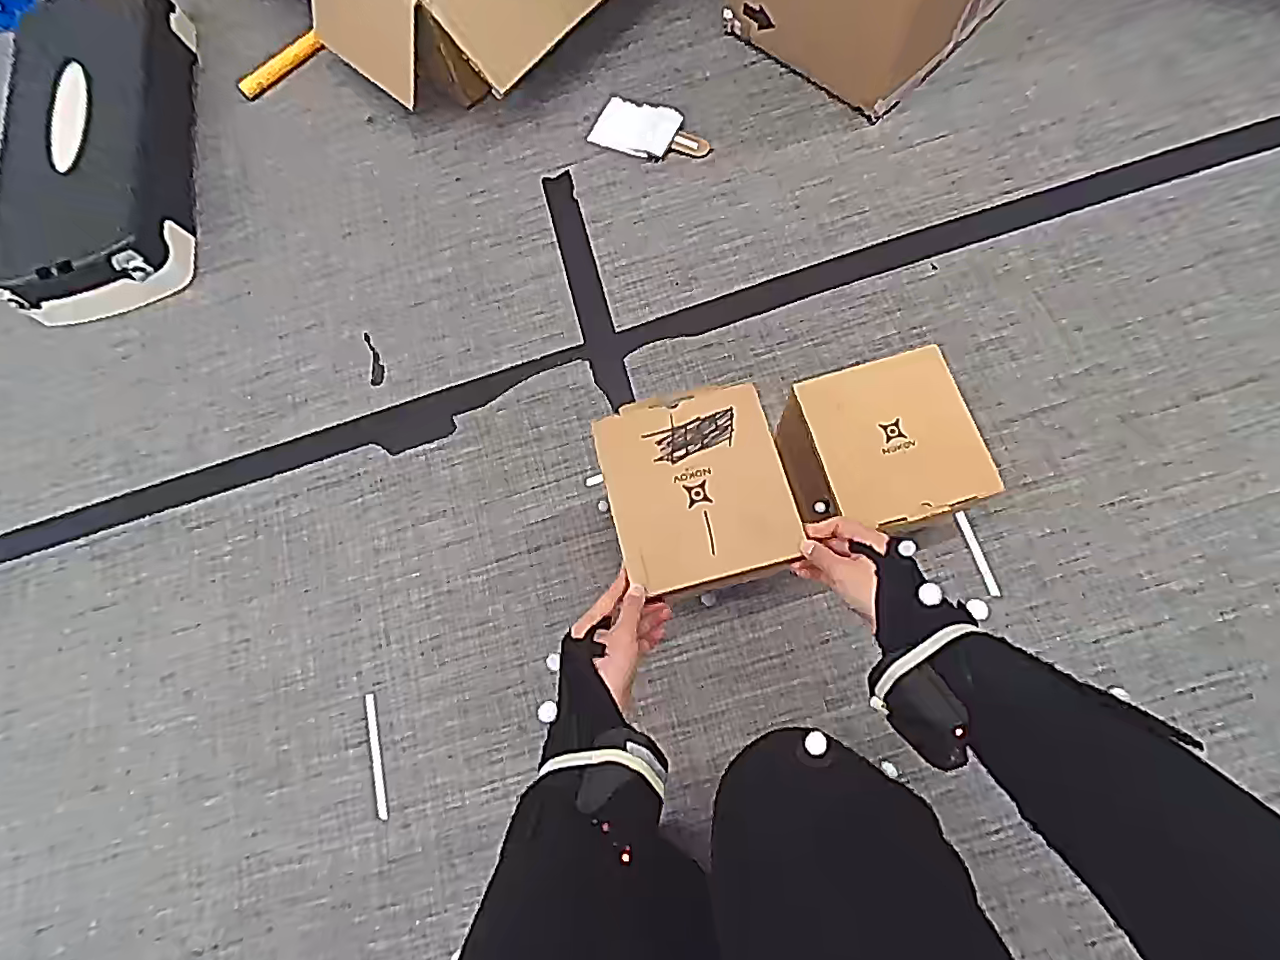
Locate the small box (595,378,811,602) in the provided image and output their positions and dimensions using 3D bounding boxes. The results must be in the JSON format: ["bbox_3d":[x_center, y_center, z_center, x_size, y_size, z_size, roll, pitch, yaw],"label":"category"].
[{"bbox_3d":[0.055,0.021,0.572,0.168,0.176,0.179,-14,75,-2],"label":"small box"}]

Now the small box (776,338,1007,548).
[{"bbox_3d":[0.272,-0.032,0.637,0.168,0.176,0.179,-16,74,1],"label":"small box"}]
